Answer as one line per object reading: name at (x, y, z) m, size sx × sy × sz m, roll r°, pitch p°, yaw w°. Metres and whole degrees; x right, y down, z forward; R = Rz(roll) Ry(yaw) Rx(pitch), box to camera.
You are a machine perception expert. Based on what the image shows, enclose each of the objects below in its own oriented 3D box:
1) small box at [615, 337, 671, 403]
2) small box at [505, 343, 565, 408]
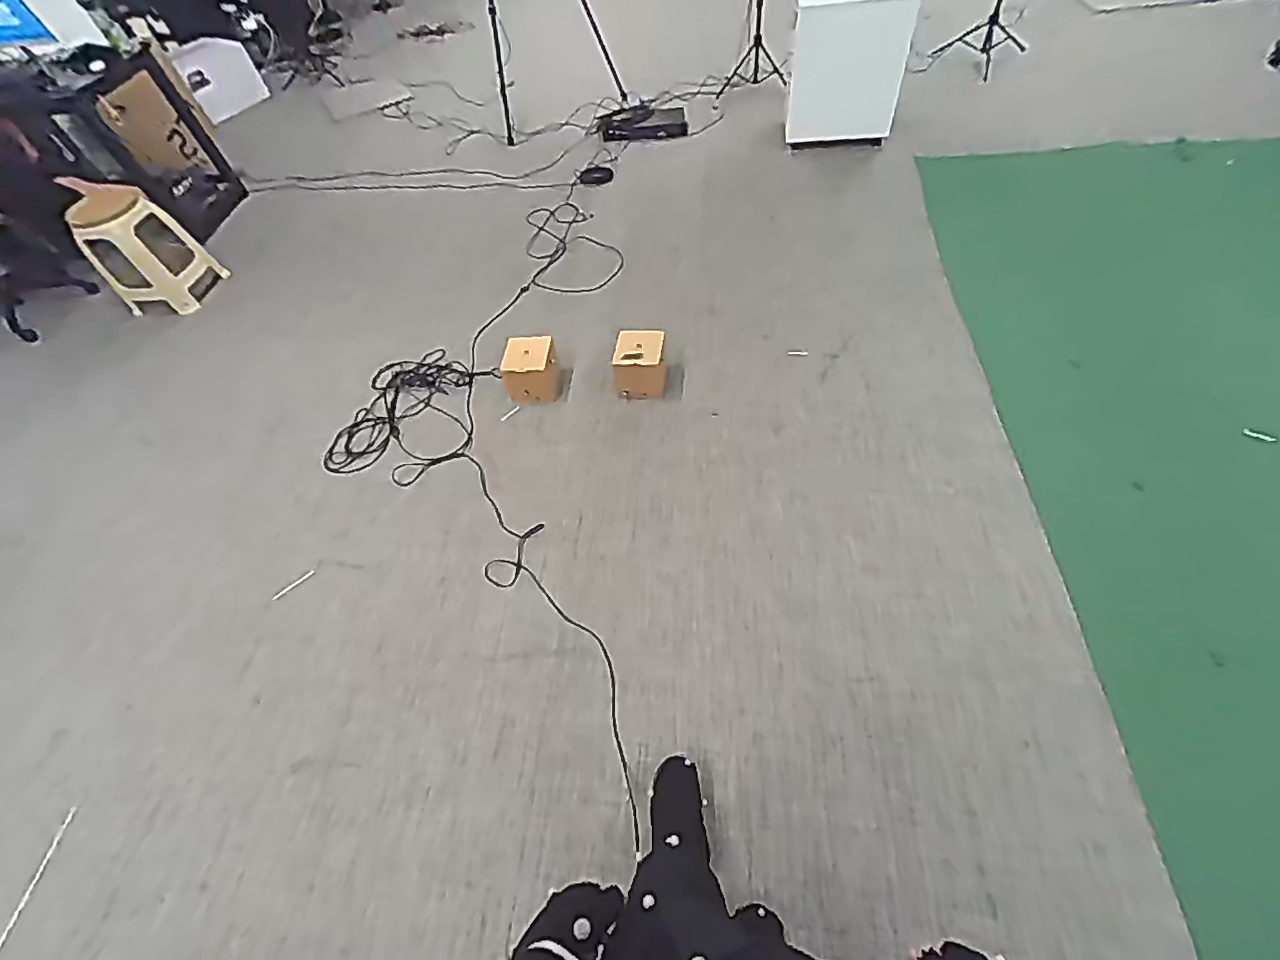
small box at (0.016, -0.396, 1.958) m, size 0.168 × 0.176 × 0.179 m, roll 3°, pitch 56°, yaw 11°
small box at (-0.383, -0.387, 2.012) m, size 0.168 × 0.176 × 0.179 m, roll -1°, pitch 56°, yaw 8°
